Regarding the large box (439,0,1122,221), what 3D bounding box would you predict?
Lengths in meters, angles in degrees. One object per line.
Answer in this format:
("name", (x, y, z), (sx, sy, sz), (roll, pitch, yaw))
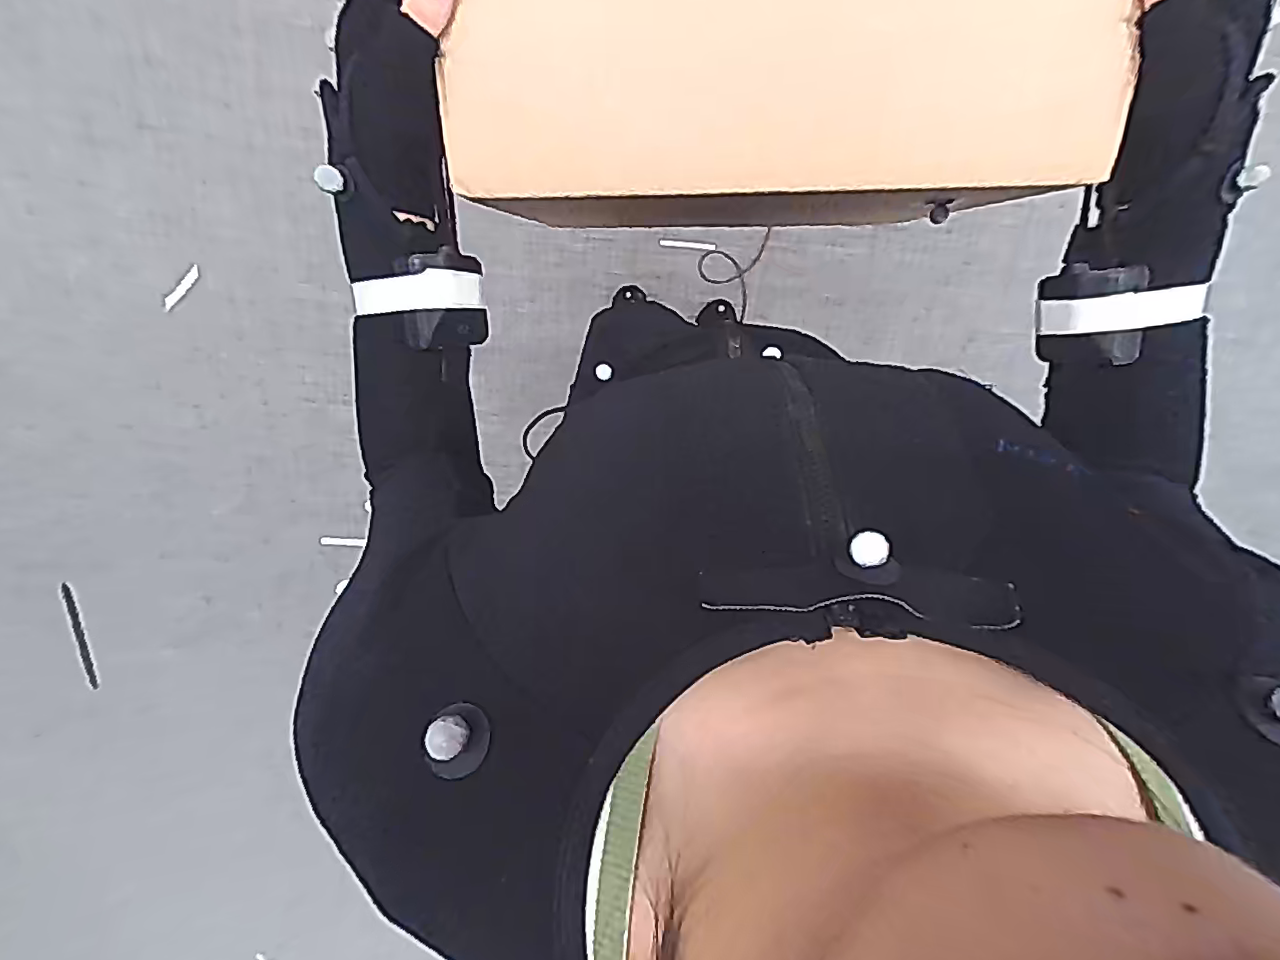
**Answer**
("large box", (0.086, -0.389, 0.432), (0.408, 0.320, 0.320), (0, 111, 3))
